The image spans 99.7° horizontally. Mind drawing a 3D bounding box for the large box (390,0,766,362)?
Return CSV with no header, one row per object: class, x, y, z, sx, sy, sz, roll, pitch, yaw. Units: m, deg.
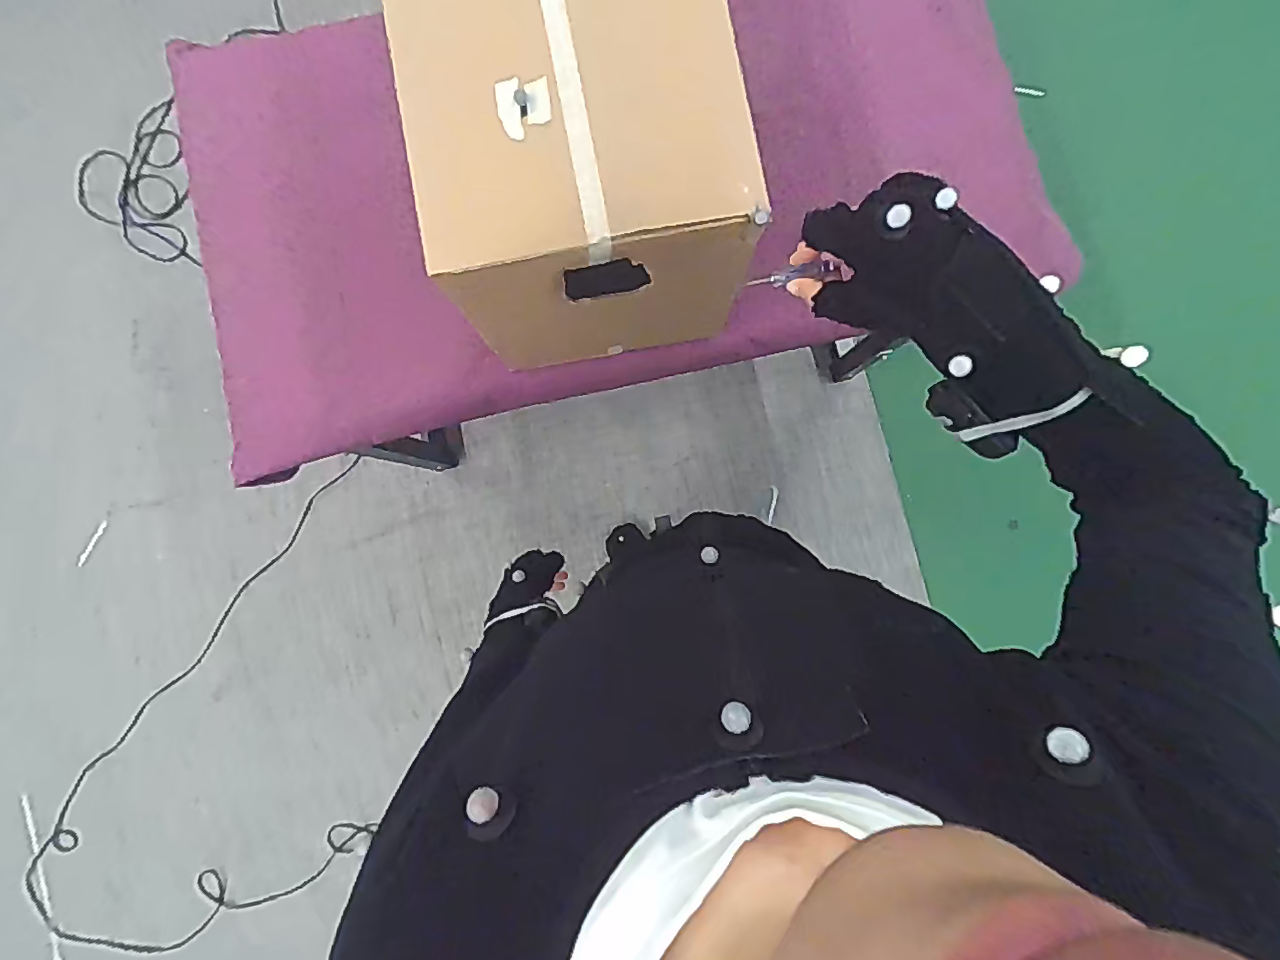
large box,-0.073,-0.400,0.657,0.320,0.320,0.408,-11,87,-1
